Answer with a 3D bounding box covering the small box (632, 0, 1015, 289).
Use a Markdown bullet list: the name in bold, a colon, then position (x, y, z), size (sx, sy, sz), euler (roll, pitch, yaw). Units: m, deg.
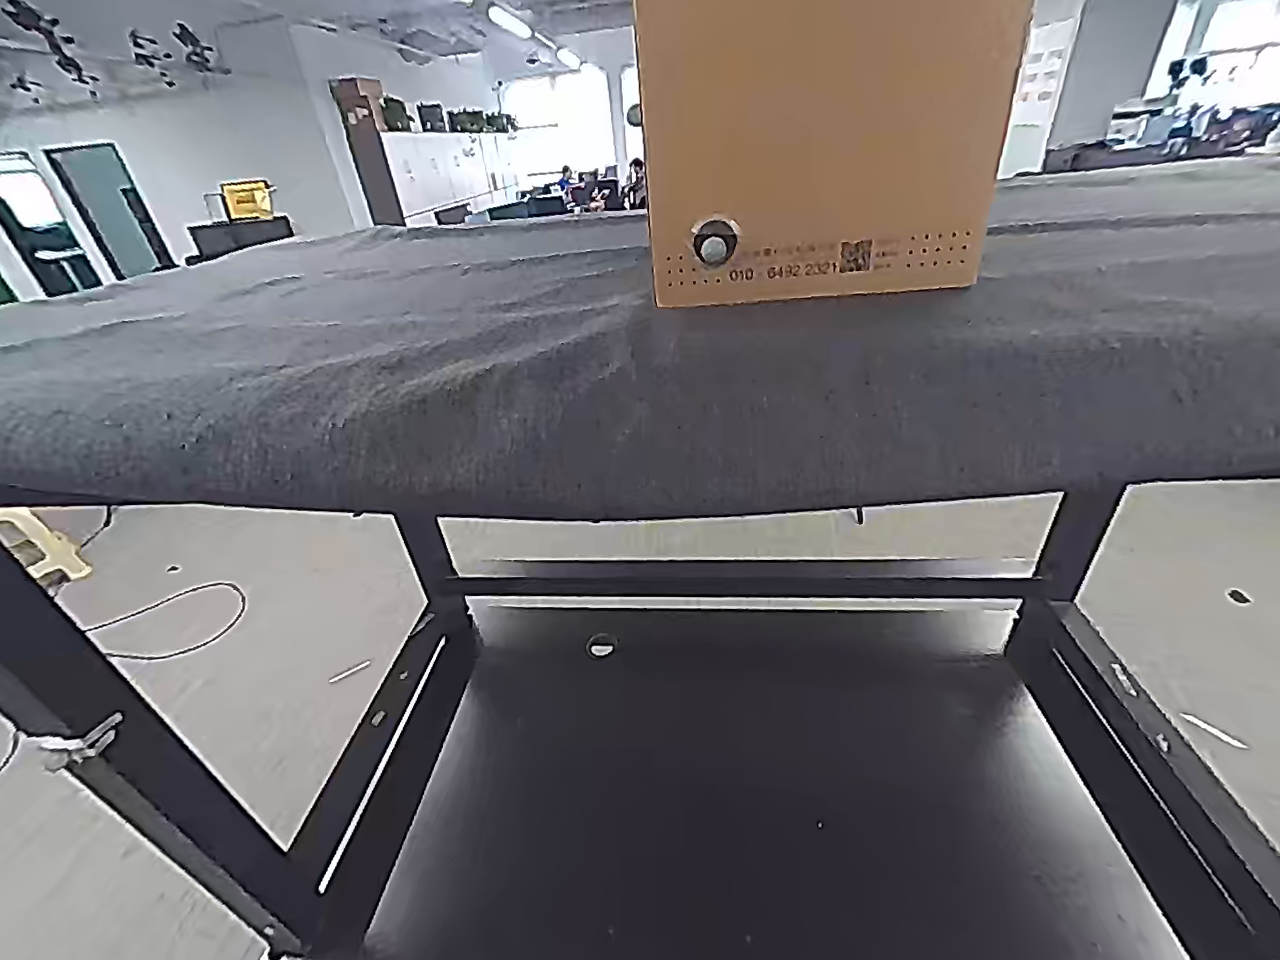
- **small box**: position (0.089, -0.211, 0.314), size (0.168, 0.176, 0.179), euler (-2, 30, 6)
